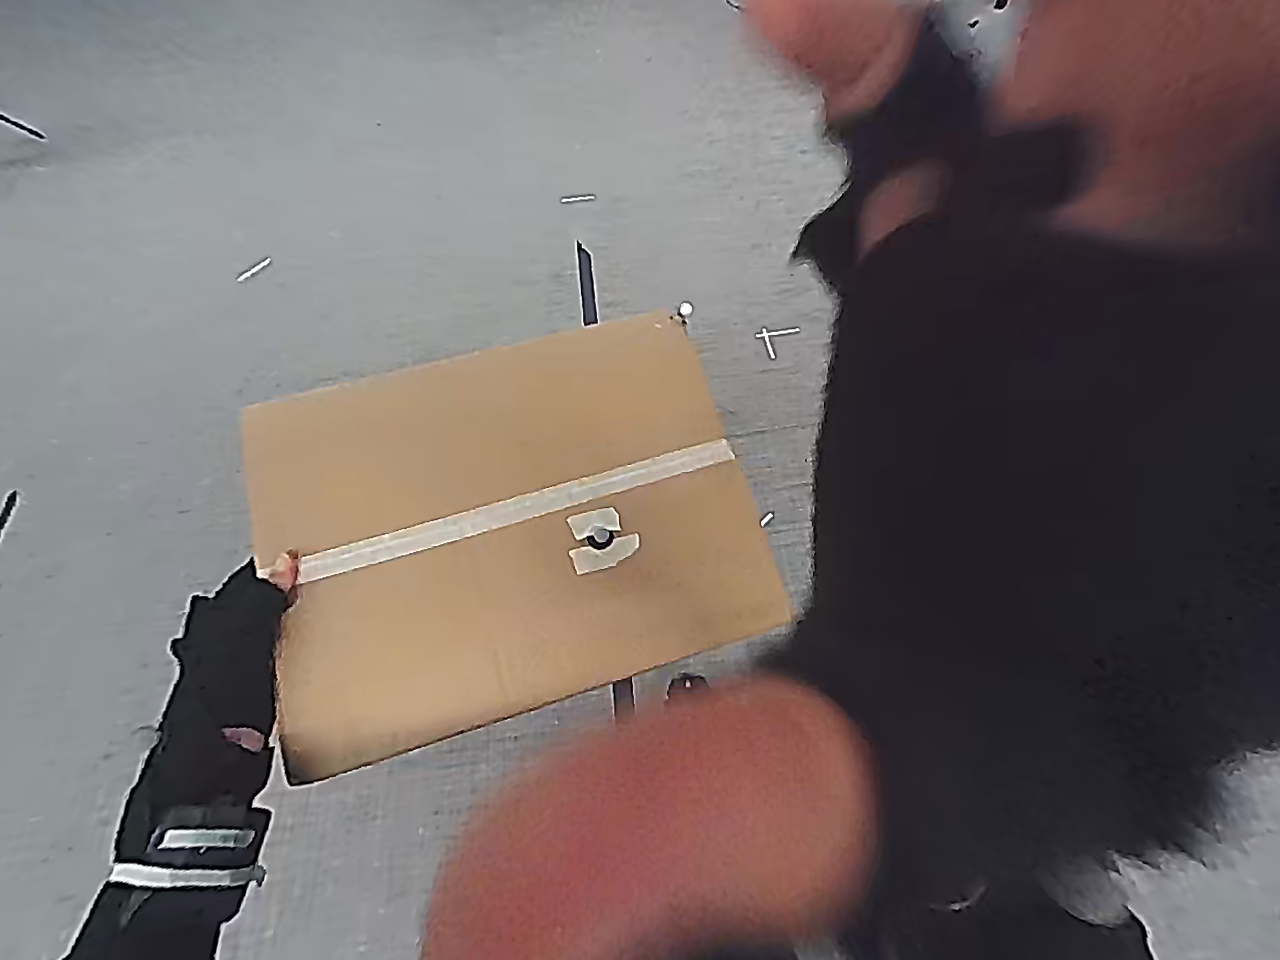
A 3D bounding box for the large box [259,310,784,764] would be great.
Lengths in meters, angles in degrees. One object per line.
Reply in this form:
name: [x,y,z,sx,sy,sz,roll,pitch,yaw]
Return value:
large box: [-0.119,0.066,0.615,0.408,0.320,0.320,-16,76,-9]
